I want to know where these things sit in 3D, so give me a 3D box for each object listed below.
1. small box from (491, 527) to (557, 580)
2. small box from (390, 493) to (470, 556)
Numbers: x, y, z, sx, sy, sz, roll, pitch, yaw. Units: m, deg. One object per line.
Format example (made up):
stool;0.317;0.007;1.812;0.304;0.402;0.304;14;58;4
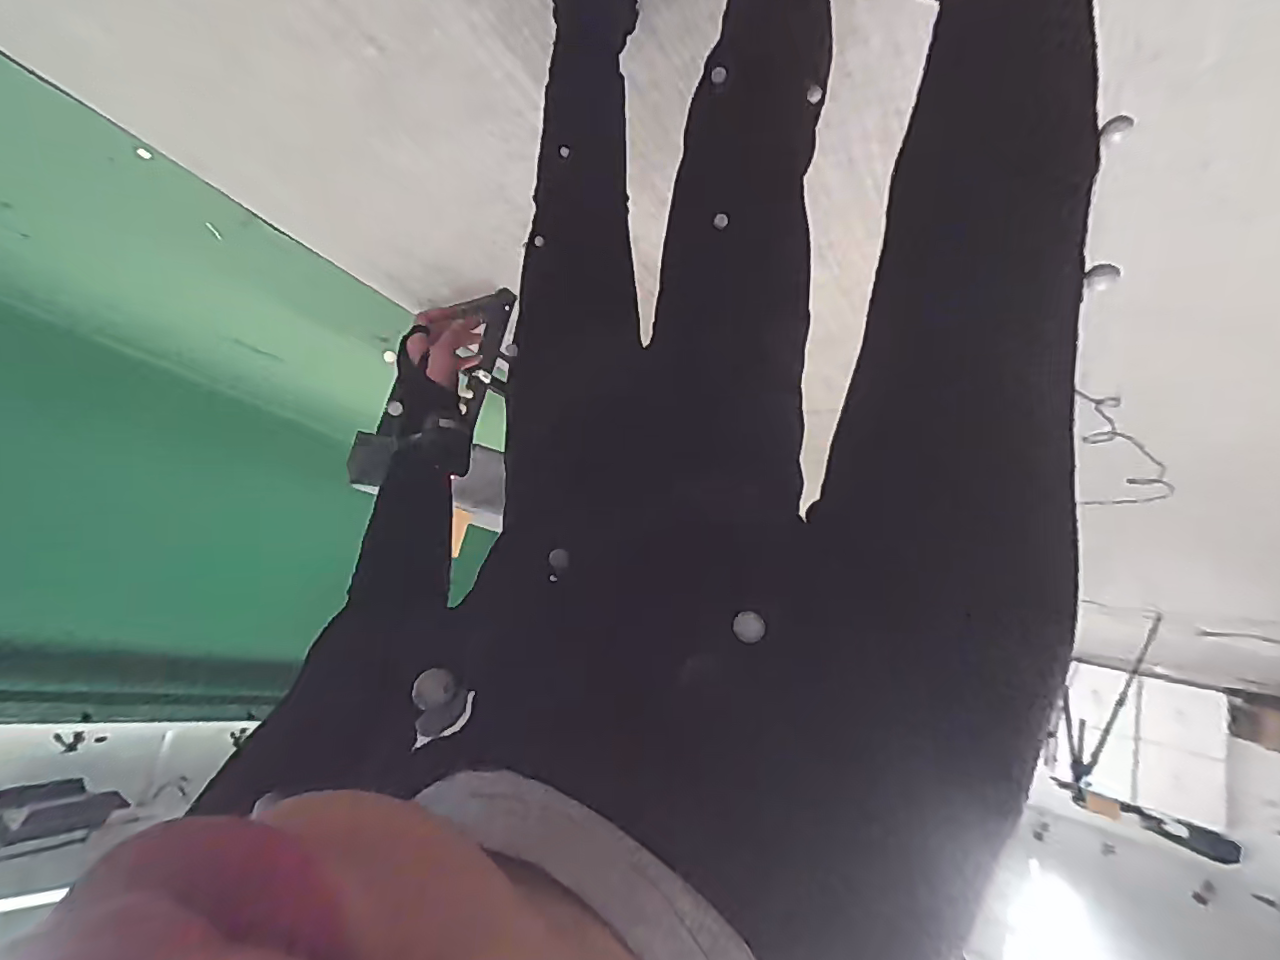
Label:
small box;-0.471;0.297;2.215;0.168;0.176;0.179;6;163;36
small box;-0.731;0.156;1.900;0.168;0.176;0.179;6;164;32
